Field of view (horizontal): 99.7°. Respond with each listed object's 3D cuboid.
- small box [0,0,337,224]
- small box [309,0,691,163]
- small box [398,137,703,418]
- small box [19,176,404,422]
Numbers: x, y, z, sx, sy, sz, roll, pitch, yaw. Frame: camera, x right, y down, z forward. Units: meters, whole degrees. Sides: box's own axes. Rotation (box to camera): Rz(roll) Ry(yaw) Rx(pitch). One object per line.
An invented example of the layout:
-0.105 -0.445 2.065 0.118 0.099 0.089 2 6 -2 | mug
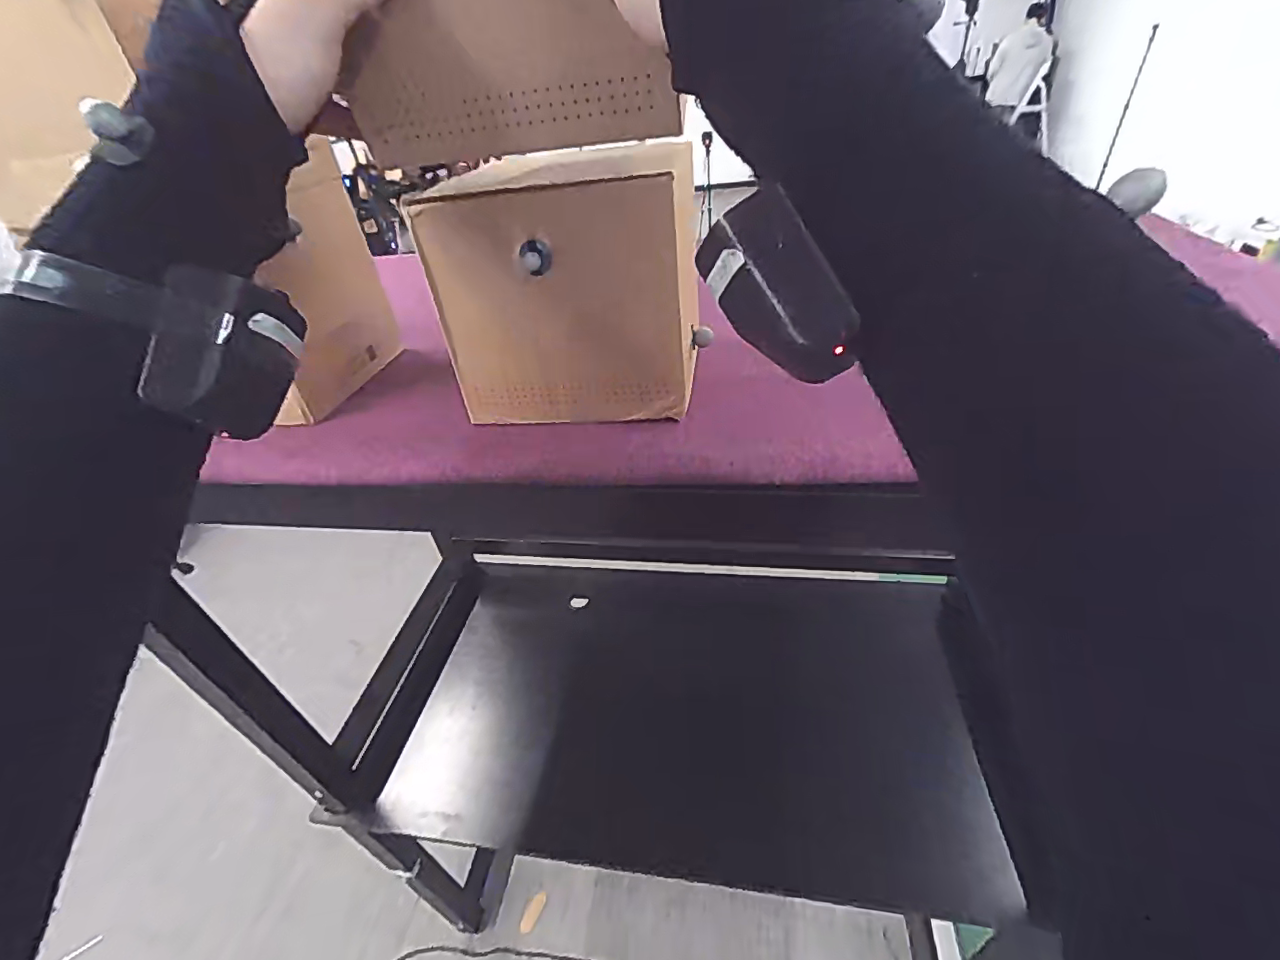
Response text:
-0.374 -0.296 0.400 0.179 0.176 0.168 0 36 9 | small box
-0.067 -0.294 0.287 0.179 0.176 0.168 -2 47 10 | small box
-0.046 -0.158 0.429 0.179 0.176 0.168 0 37 11 | small box
-0.356 -0.162 0.492 0.179 0.176 0.168 -1 37 10 | small box
